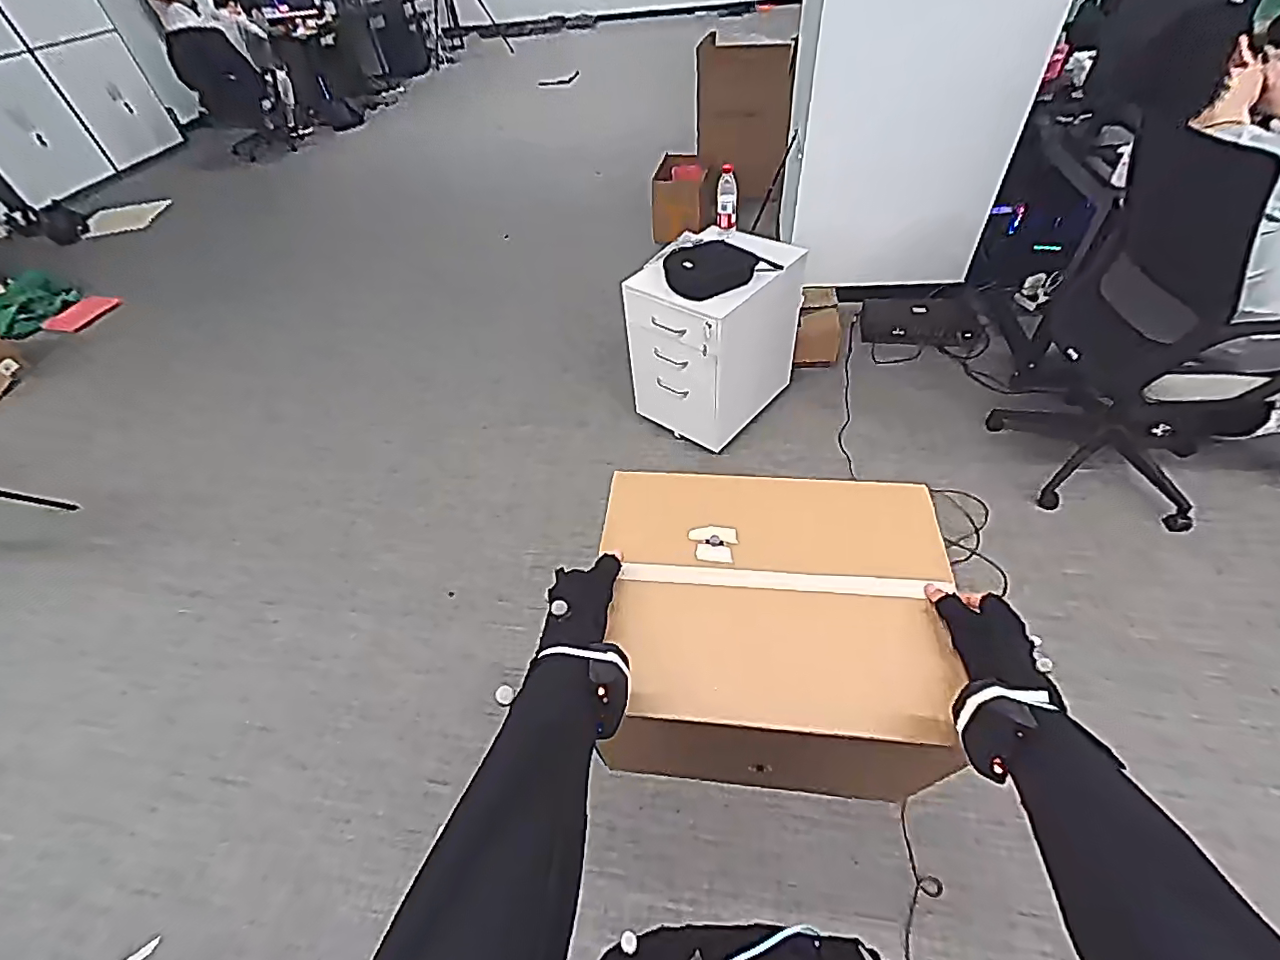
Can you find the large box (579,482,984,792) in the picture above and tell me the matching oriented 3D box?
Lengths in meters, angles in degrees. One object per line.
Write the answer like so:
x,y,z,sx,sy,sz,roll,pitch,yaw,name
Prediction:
0.160,0.219,0.744,0.408,0.320,0.320,2,51,7,large box
